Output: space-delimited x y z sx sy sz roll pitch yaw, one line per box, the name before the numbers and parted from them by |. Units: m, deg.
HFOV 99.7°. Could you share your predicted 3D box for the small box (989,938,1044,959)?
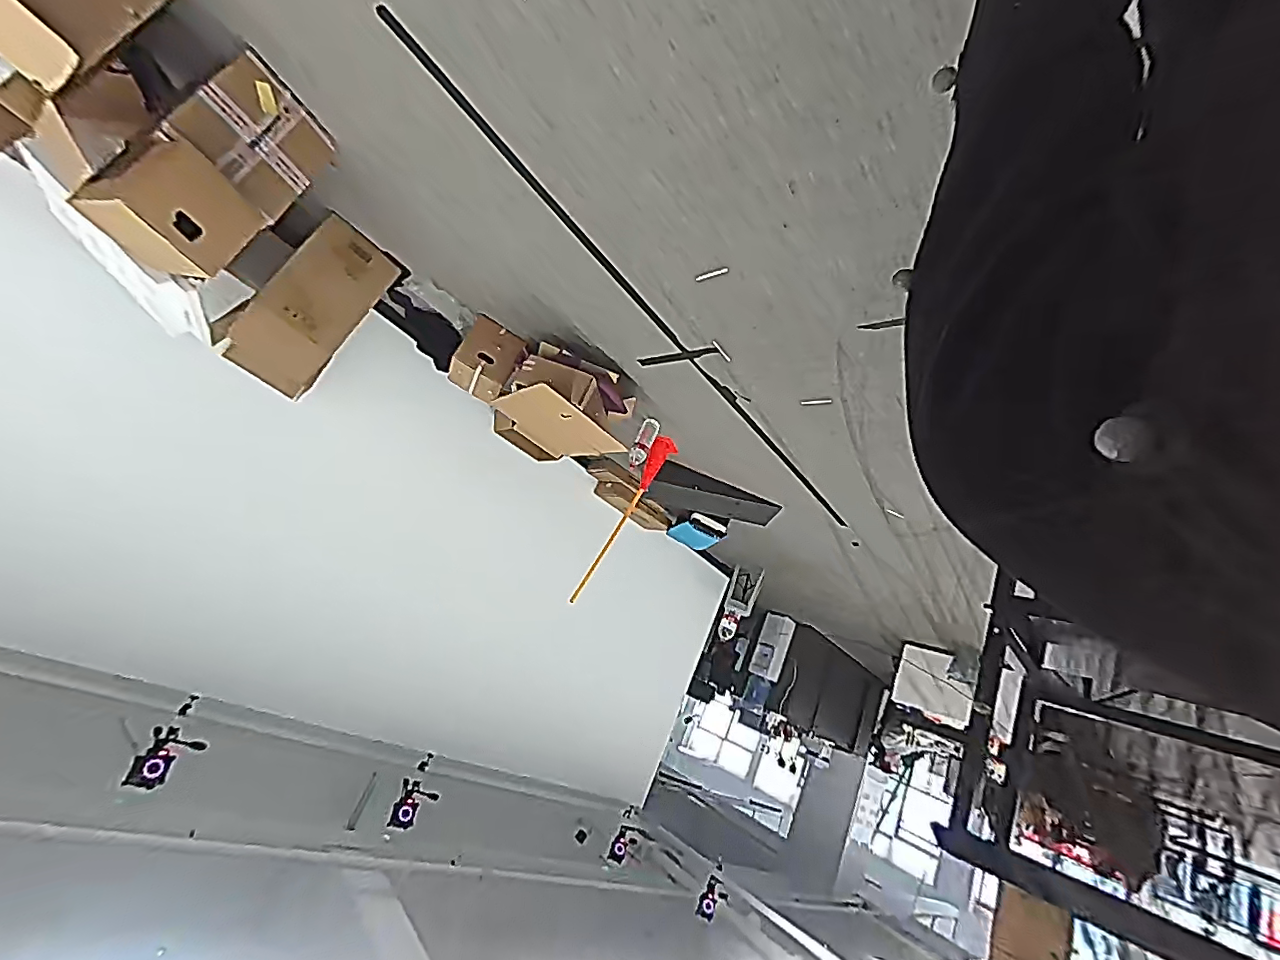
small box | 1.014 1.342 1.411 0.168 0.176 0.179 5 154 44
